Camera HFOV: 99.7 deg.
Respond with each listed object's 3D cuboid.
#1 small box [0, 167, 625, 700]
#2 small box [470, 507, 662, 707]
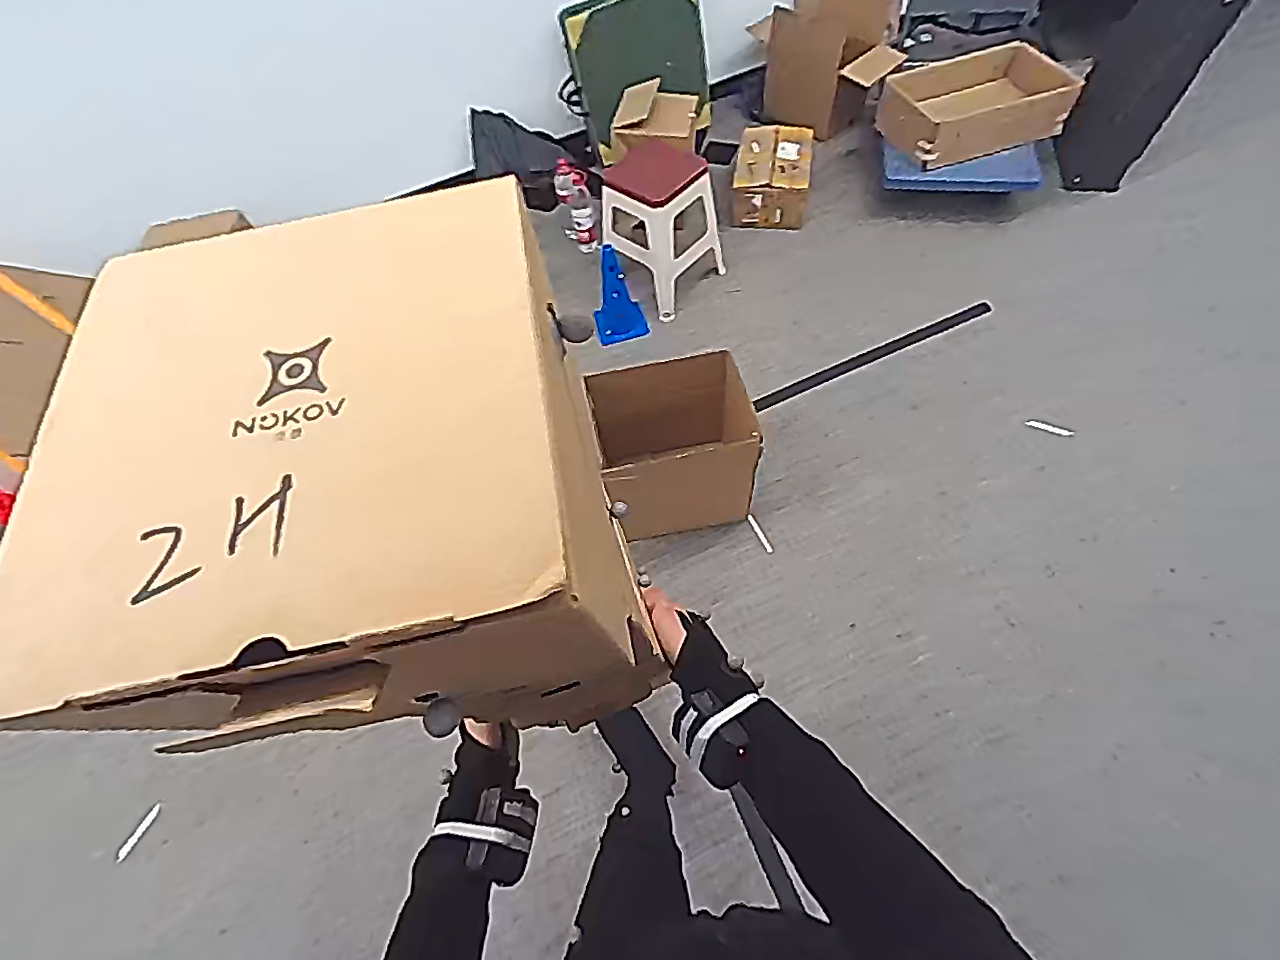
[{"bbox_3d":[-0.106,-0.004,0.257,0.168,0.176,0.179,-11,65,0],"label":"small box"},{"bbox_3d":[-0.080,0.121,0.559,0.168,0.176,0.179,-18,65,-3],"label":"small box"}]
